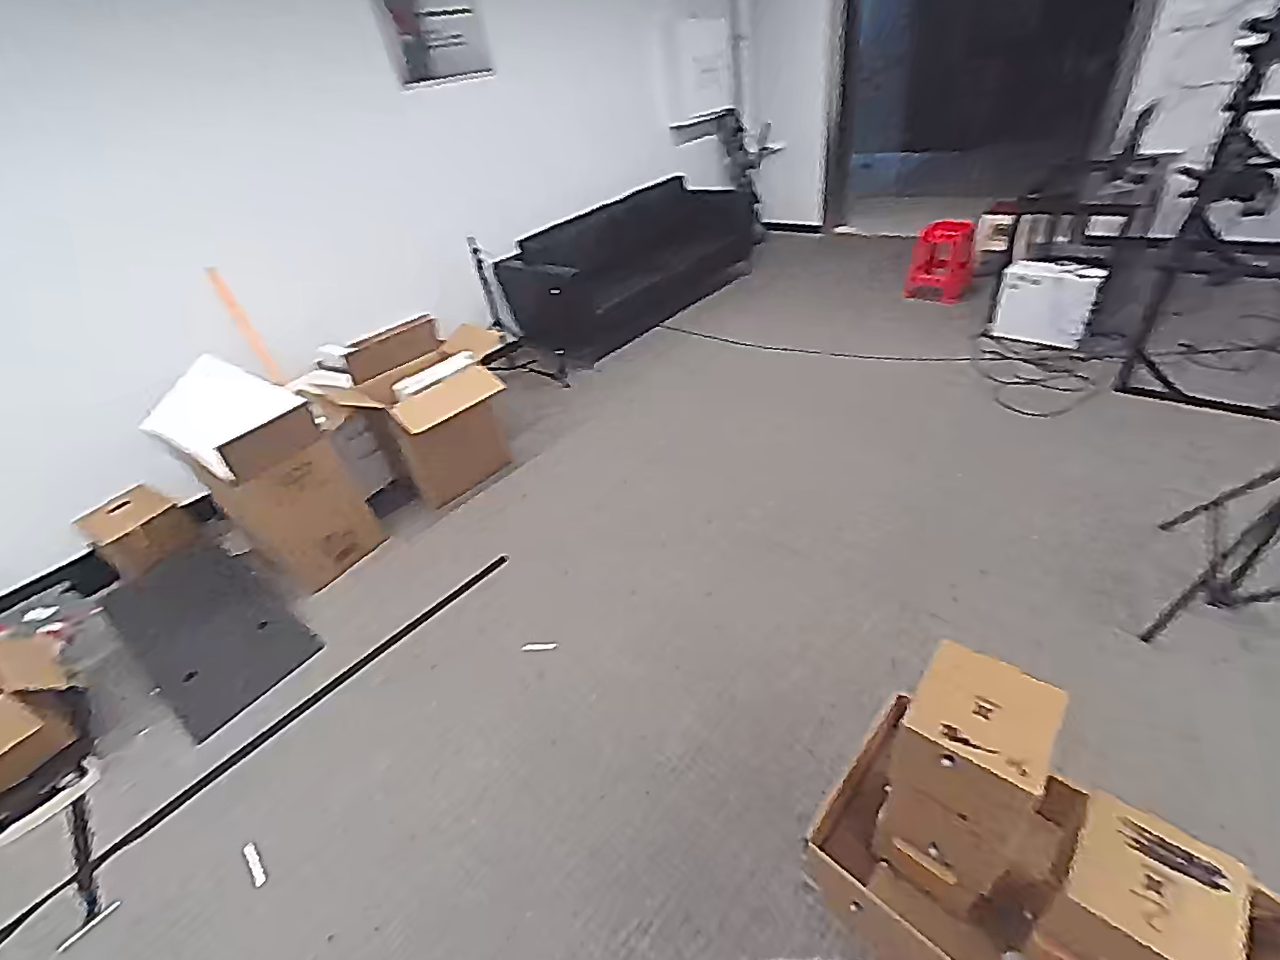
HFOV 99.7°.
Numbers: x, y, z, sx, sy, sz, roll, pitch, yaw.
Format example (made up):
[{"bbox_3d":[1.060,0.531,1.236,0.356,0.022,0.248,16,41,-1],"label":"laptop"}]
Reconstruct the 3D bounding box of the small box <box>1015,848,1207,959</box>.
[{"bbox_3d":[0.711,0.729,0.832,0.179,0.176,0.168,-36,42,-29],"label":"small box"}]

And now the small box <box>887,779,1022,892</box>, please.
[{"bbox_3d":[0.523,0.517,0.888,0.168,0.176,0.179,22,48,37],"label":"small box"}]

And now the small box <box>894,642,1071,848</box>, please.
[{"bbox_3d":[0.493,0.384,0.795,0.168,0.176,0.179,22,46,37],"label":"small box"}]
